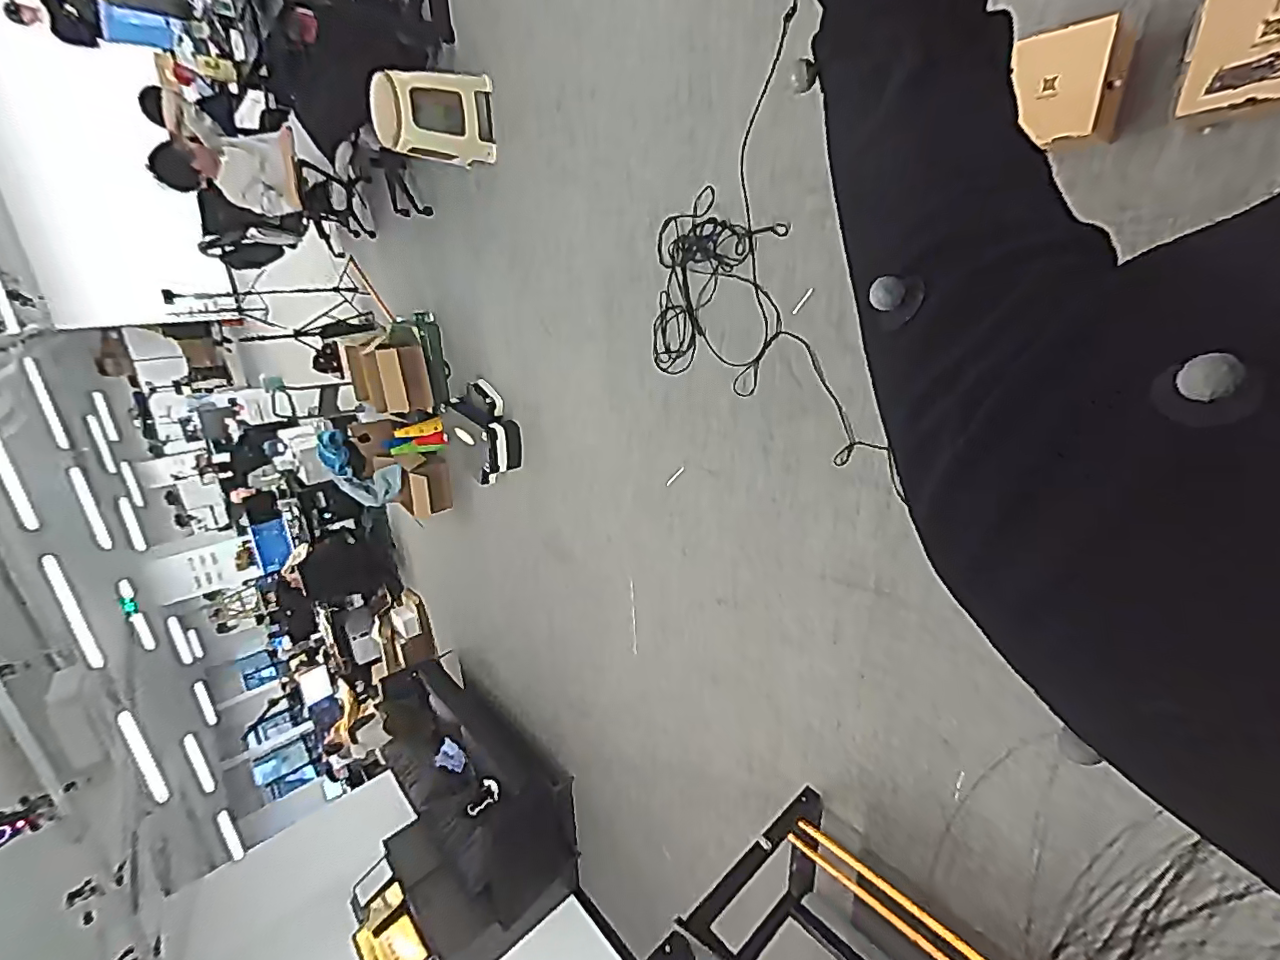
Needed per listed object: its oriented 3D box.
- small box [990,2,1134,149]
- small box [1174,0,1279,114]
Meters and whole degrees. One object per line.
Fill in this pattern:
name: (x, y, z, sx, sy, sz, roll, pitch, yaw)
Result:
small box: (0.803, -0.752, 1.029, 0.168, 0.176, 0.179, 21, 121, 45)
small box: (0.978, -0.690, 0.838, 0.168, 0.176, 0.179, 20, 119, 45)
